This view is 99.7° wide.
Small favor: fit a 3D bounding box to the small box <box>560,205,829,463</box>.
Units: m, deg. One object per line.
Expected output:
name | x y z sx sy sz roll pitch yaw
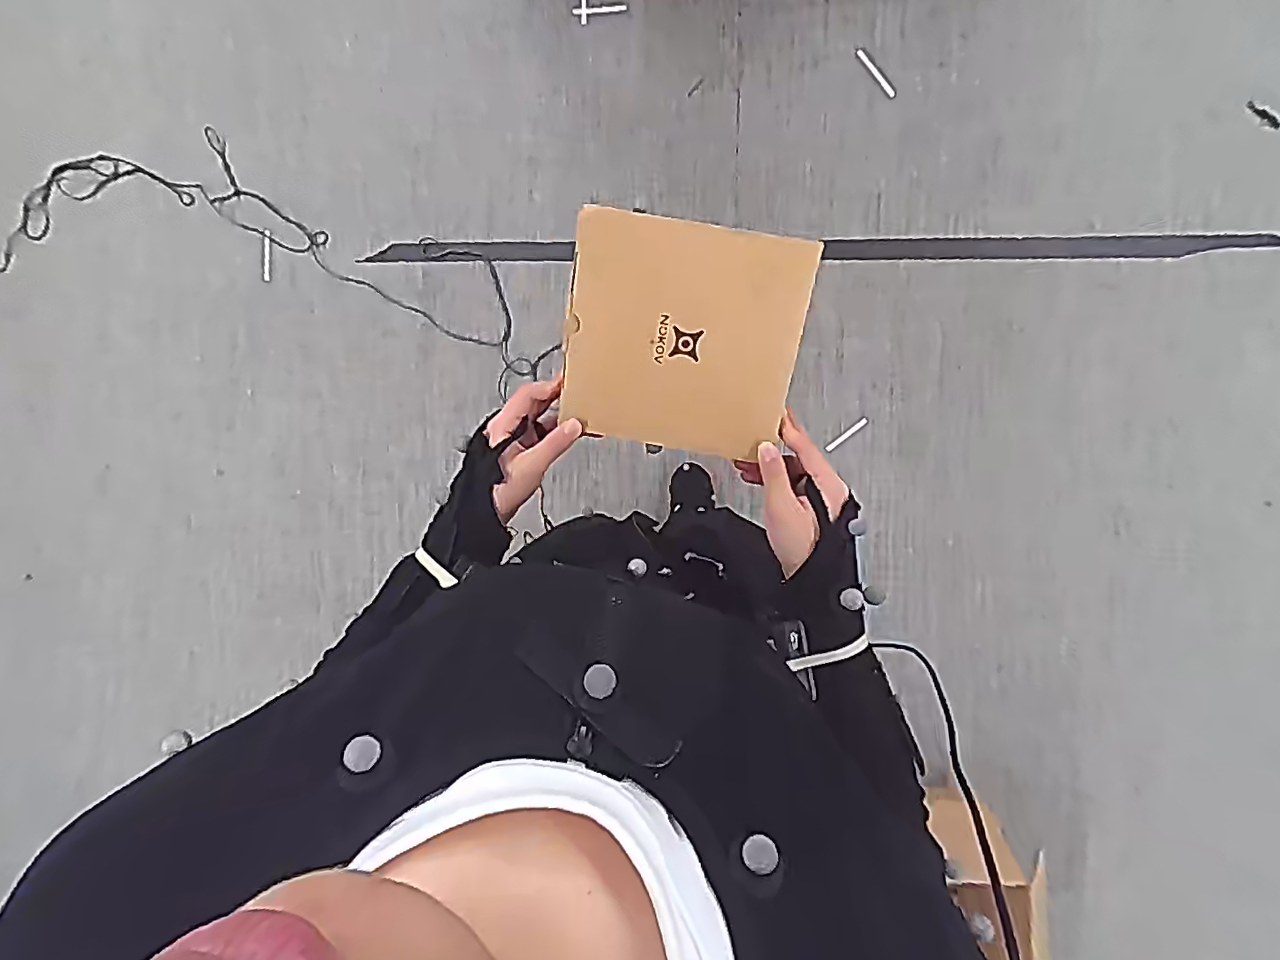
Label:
small box | 0.042 -0.128 0.475 0.179 0.176 0.168 10 109 4
